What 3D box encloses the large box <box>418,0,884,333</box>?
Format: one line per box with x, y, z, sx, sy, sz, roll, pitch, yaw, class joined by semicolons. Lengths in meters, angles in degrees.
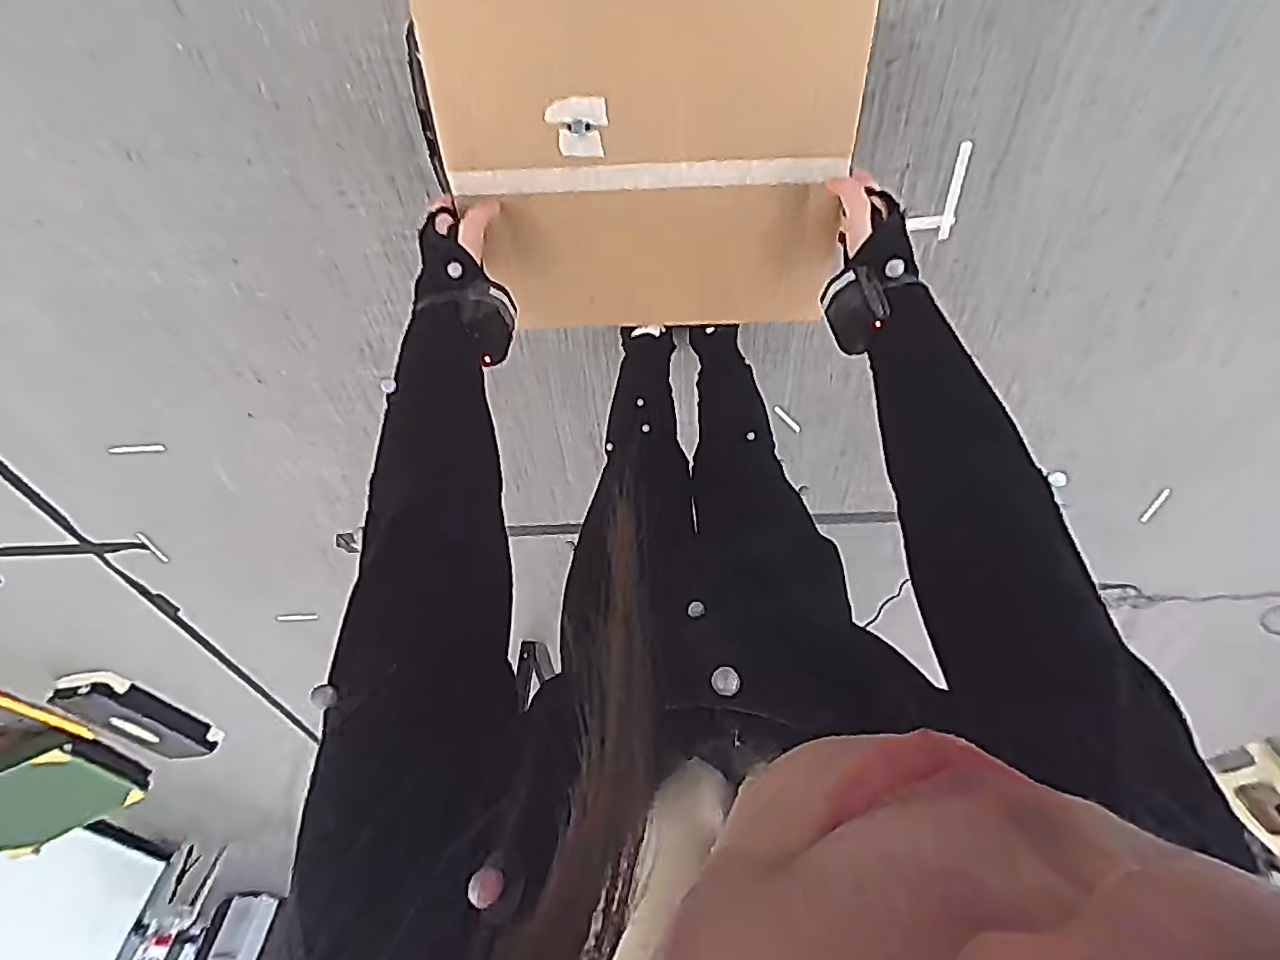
0.018;-0.389;0.655;0.408;0.320;0.320;-1;126;2;large box

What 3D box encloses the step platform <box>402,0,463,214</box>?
-0.013;-0.587;0.883;0.684;0.204;0.286;2;132;-1;step platform
